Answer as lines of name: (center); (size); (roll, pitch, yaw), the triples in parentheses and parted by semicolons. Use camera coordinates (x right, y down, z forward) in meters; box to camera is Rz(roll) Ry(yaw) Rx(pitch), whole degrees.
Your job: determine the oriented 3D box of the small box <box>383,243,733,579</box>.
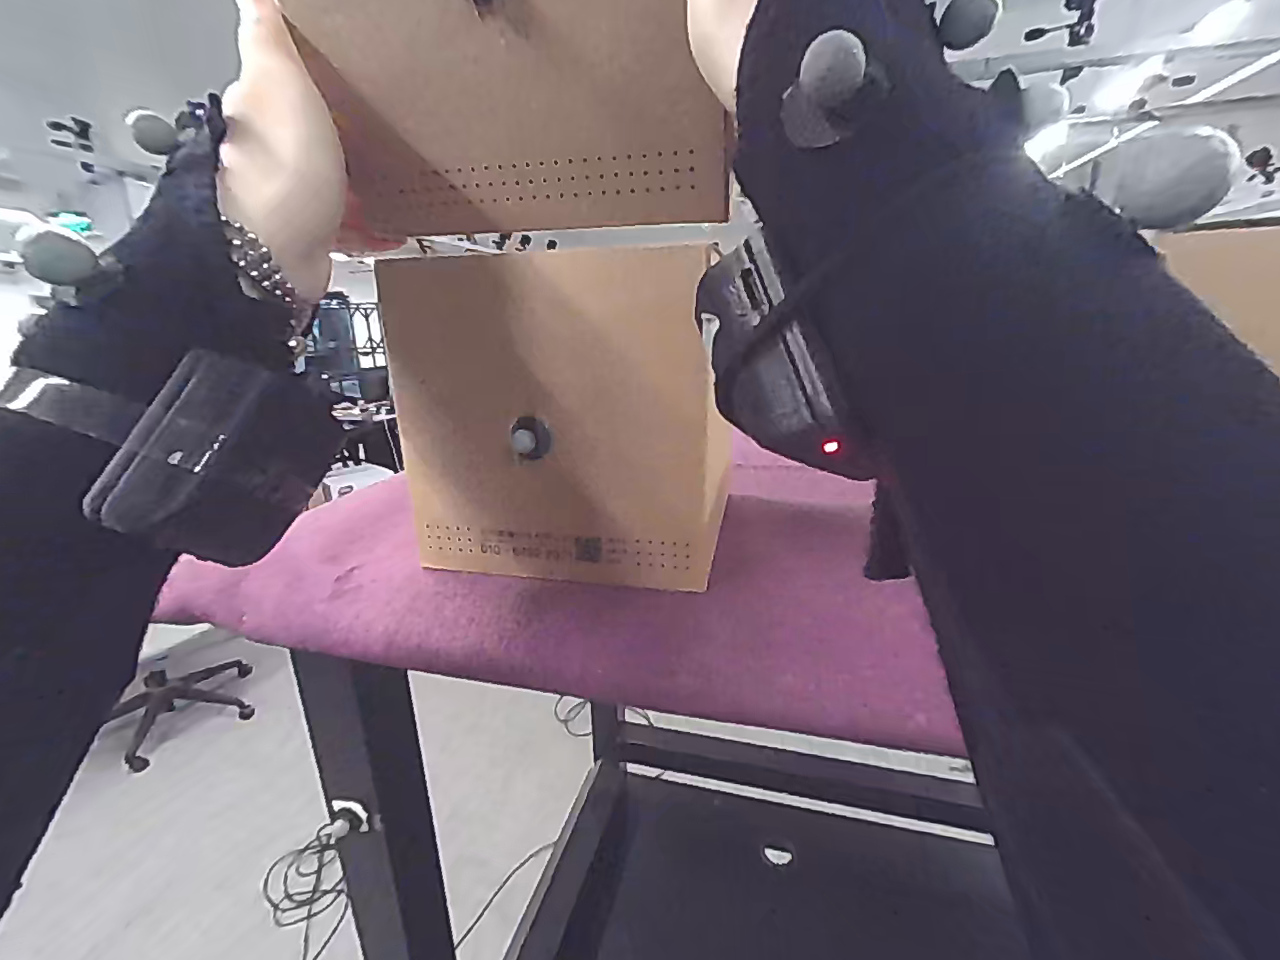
small box: (-0.029, -0.049, 0.352); (0.168, 0.176, 0.179); (4, 17, 12)
